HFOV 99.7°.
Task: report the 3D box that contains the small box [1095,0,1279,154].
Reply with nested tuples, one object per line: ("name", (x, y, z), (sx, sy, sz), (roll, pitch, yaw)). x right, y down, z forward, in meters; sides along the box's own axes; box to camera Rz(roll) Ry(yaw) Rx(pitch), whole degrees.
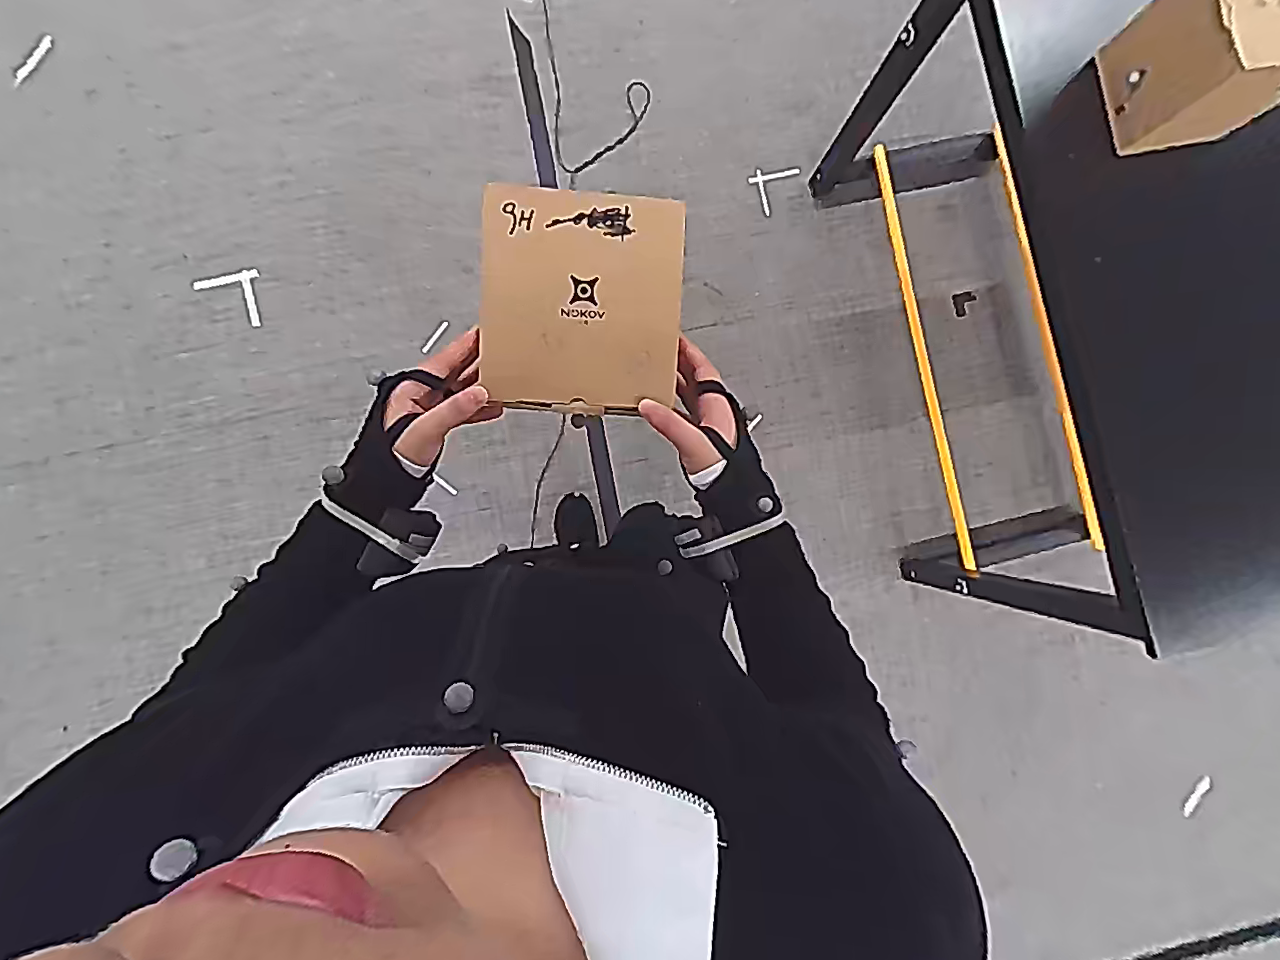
("small box", (0.810, -0.600, 0.766), (0.179, 0.176, 0.168), (-11, 88, -4))

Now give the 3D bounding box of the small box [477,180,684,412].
("small box", (-0.056, -0.159, 0.526), (0.168, 0.176, 0.179), (2, 97, -6))
